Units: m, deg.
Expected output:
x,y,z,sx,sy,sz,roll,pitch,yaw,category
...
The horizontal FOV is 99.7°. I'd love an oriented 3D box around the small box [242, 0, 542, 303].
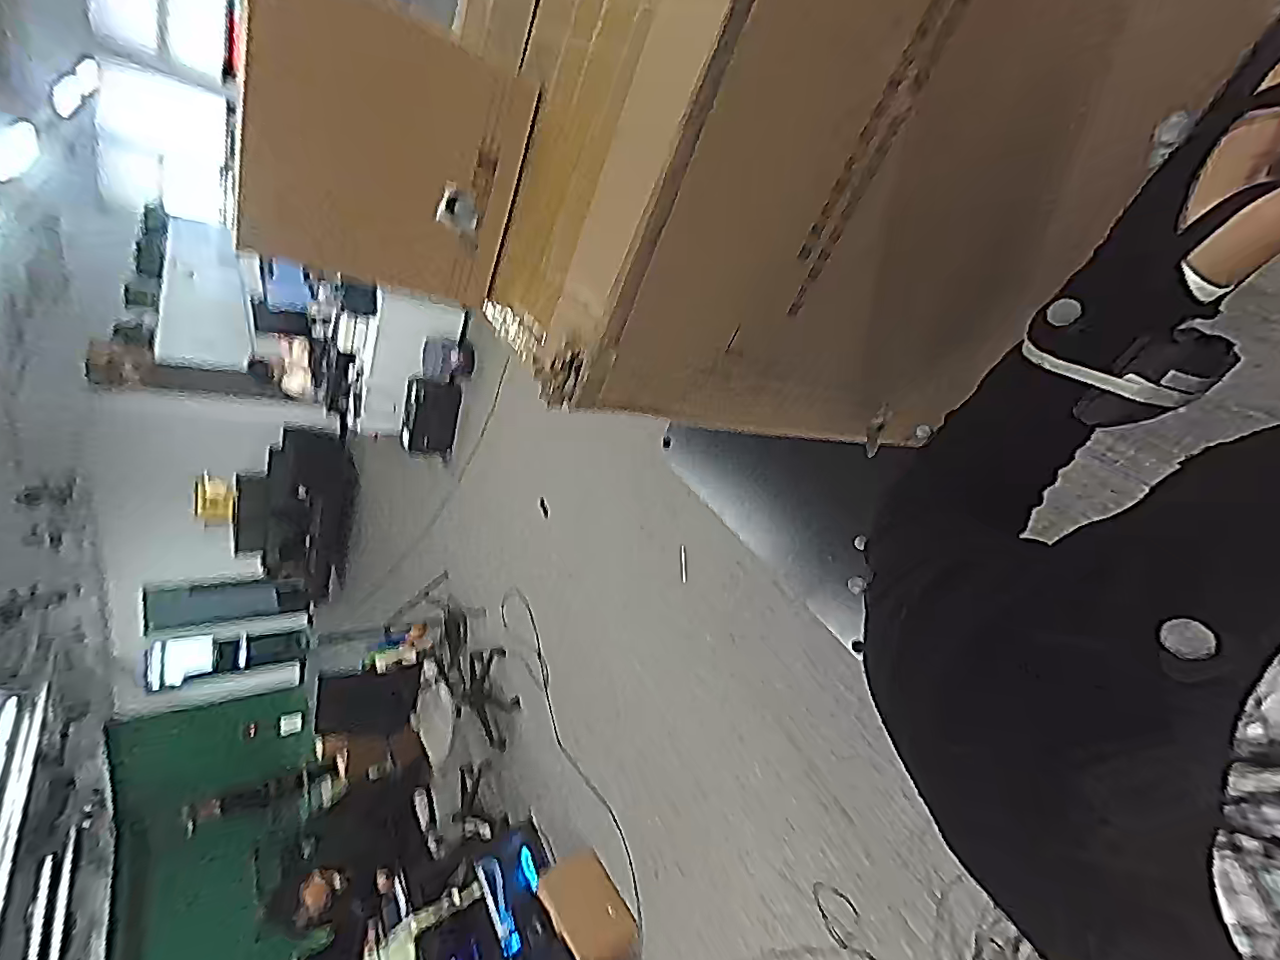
x,y,z,sx,sy,sz,roll,pitch,yaw,category
-0.200,-0.253,0.421,0.179,0.176,0.168,45,124,42,small box
